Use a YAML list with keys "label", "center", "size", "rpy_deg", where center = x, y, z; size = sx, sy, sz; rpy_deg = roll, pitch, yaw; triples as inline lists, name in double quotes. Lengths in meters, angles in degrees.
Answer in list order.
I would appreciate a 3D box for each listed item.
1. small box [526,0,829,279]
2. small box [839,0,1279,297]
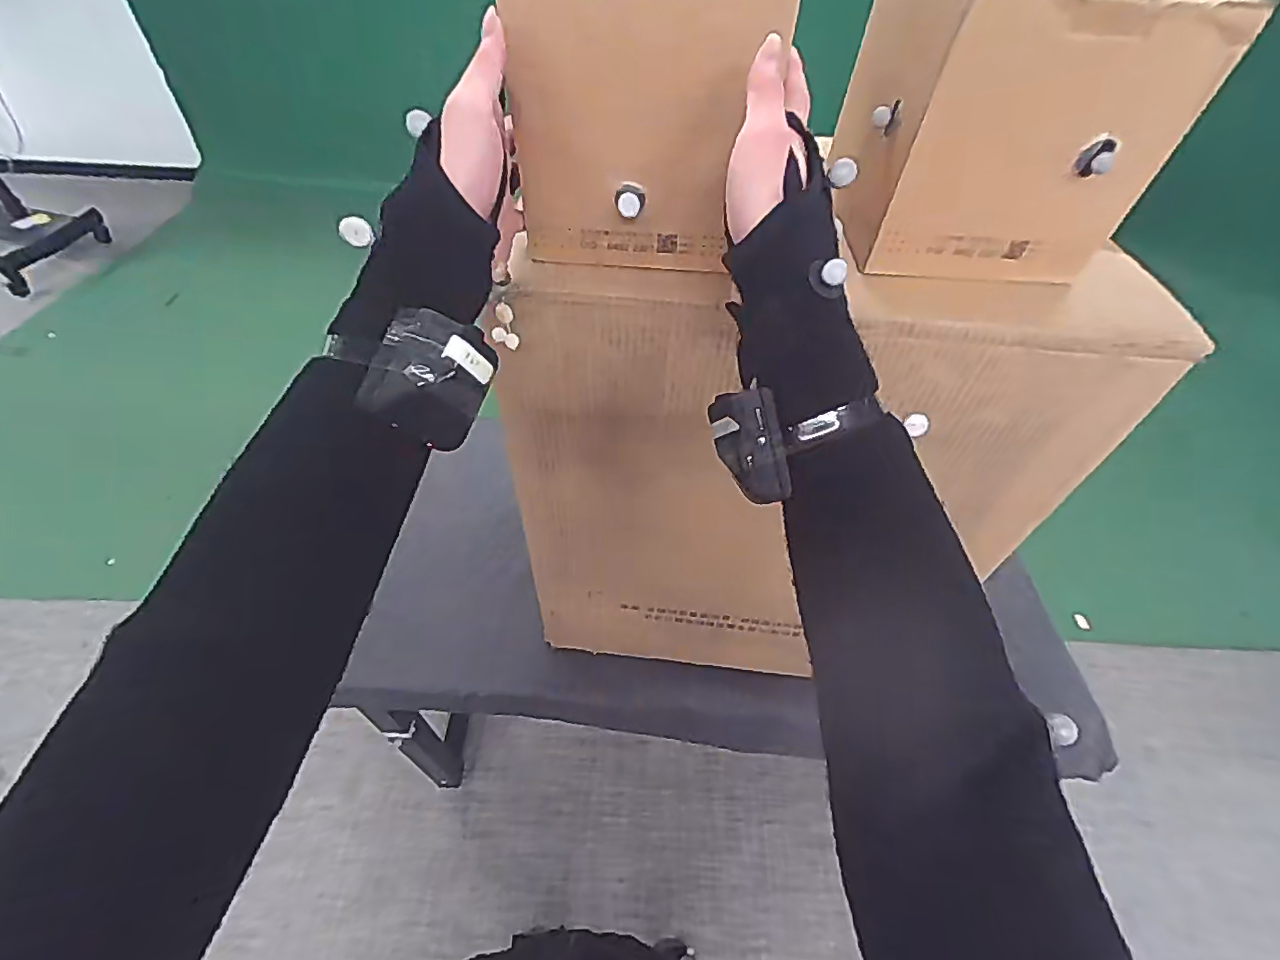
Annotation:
- label: "small box"
  center: [0.023, -0.271, 0.386]
  size: [0.168, 0.176, 0.179]
  rpy_deg: [7, 52, 3]
- label: "small box"
  center: [0.270, -0.257, 0.398]
  size: [0.168, 0.176, 0.179]
  rpy_deg: [4, 51, -4]
